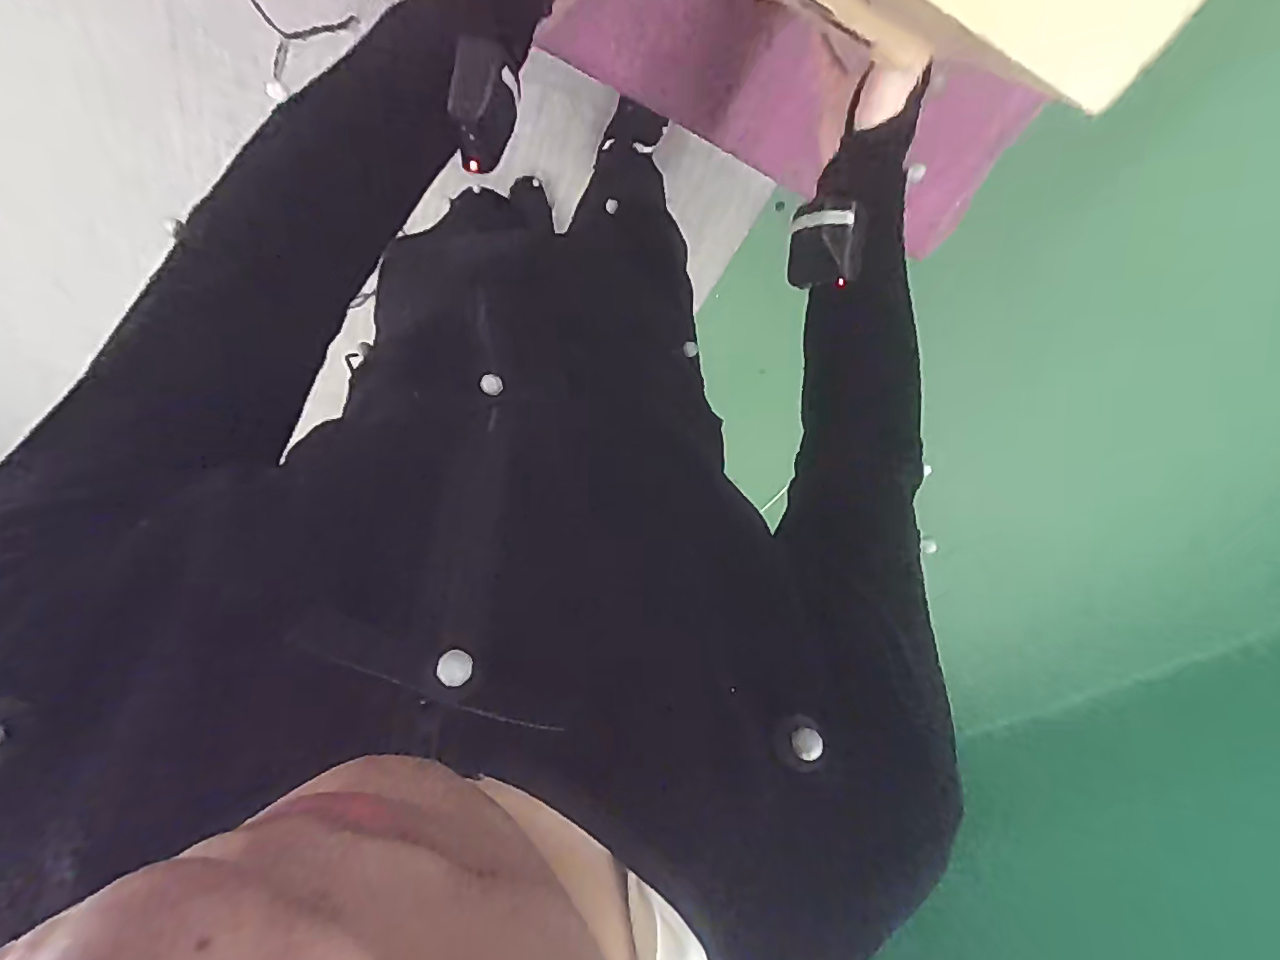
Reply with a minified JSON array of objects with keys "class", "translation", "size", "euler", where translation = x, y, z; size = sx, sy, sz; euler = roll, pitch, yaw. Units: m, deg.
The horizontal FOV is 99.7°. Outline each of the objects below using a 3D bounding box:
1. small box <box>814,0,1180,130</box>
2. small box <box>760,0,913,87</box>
[{"class":"small box","translation":[0.119,-0.261,0.178],"size":[0.168,0.176,0.179],"euler":[21,131,-13]},{"class":"small box","translation":[0.123,-0.367,0.301],"size":[0.168,0.176,0.179],"euler":[22,131,-14]}]
